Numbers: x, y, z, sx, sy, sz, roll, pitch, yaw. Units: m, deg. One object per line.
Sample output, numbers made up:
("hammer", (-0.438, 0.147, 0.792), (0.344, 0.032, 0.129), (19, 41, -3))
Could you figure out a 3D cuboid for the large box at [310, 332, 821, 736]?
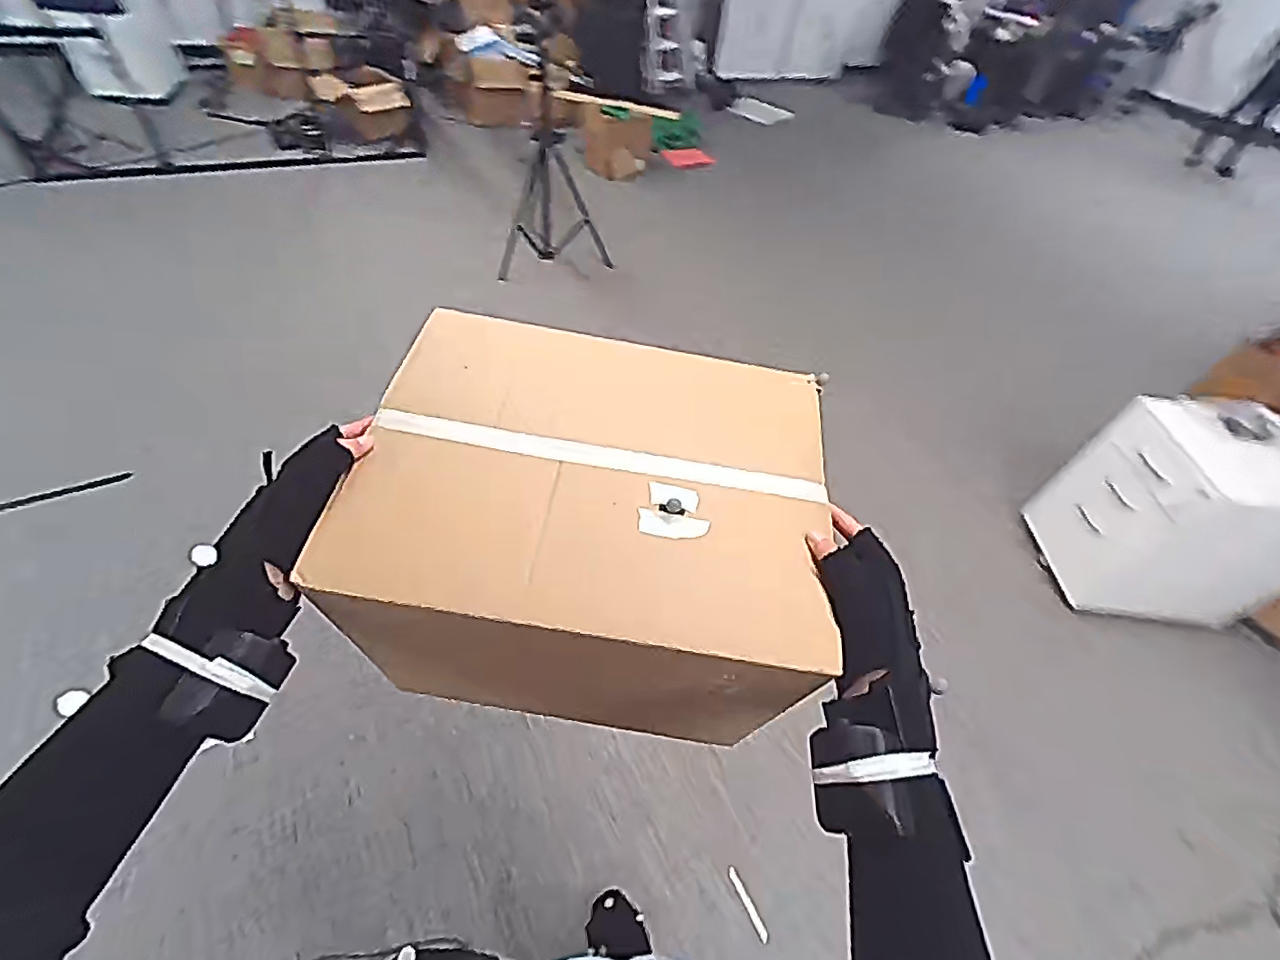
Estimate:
("large box", (-0.060, 0.078, 0.618), (0.408, 0.320, 0.320), (9, 55, -3))
